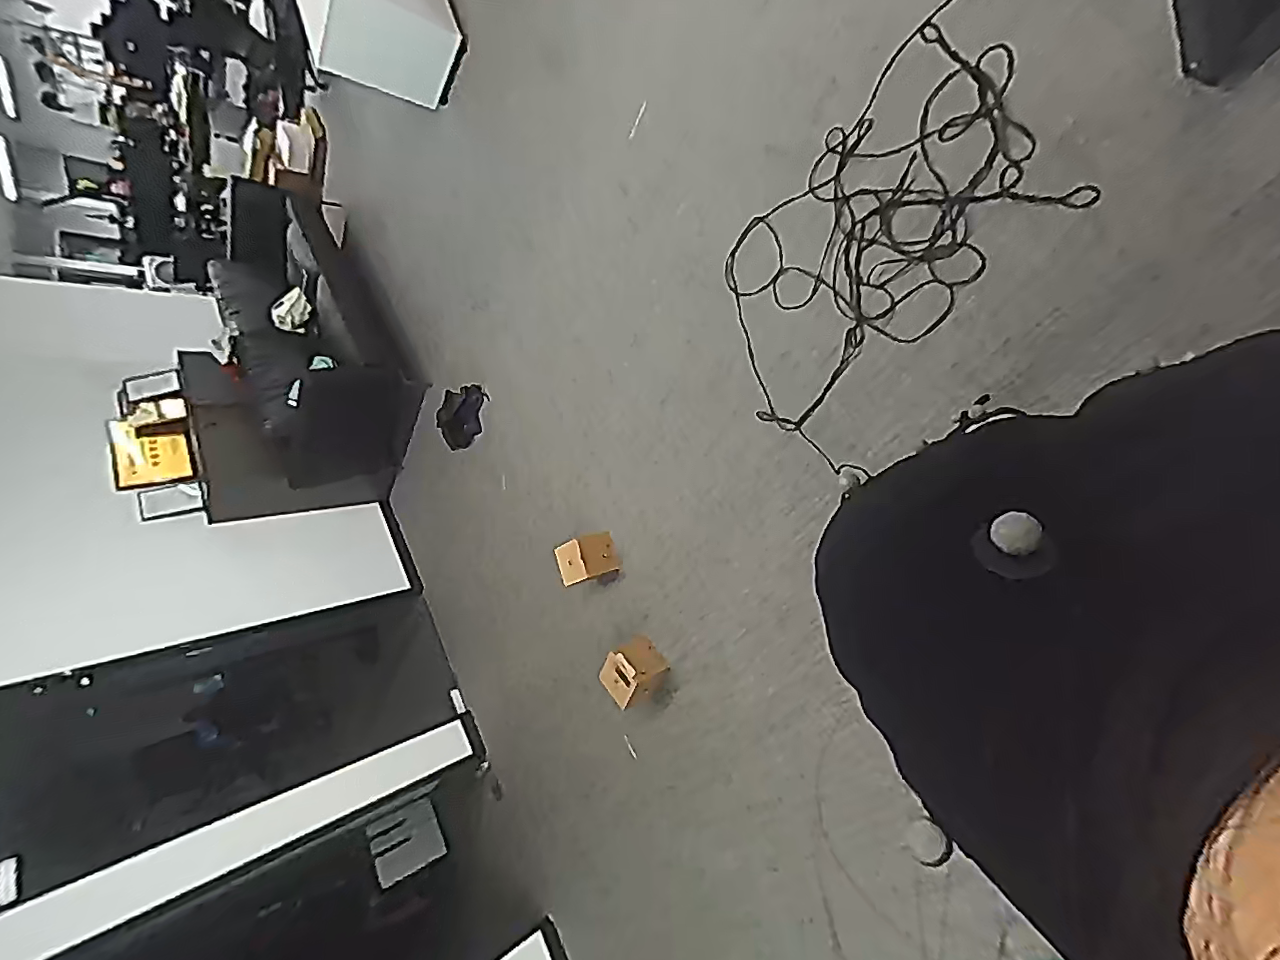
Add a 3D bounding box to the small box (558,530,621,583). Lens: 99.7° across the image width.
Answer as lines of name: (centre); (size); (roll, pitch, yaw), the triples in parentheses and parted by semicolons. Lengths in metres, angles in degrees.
small box: (-0.207, 0.314, 2.232); (0.179, 0.176, 0.168); (-30, 74, 45)
